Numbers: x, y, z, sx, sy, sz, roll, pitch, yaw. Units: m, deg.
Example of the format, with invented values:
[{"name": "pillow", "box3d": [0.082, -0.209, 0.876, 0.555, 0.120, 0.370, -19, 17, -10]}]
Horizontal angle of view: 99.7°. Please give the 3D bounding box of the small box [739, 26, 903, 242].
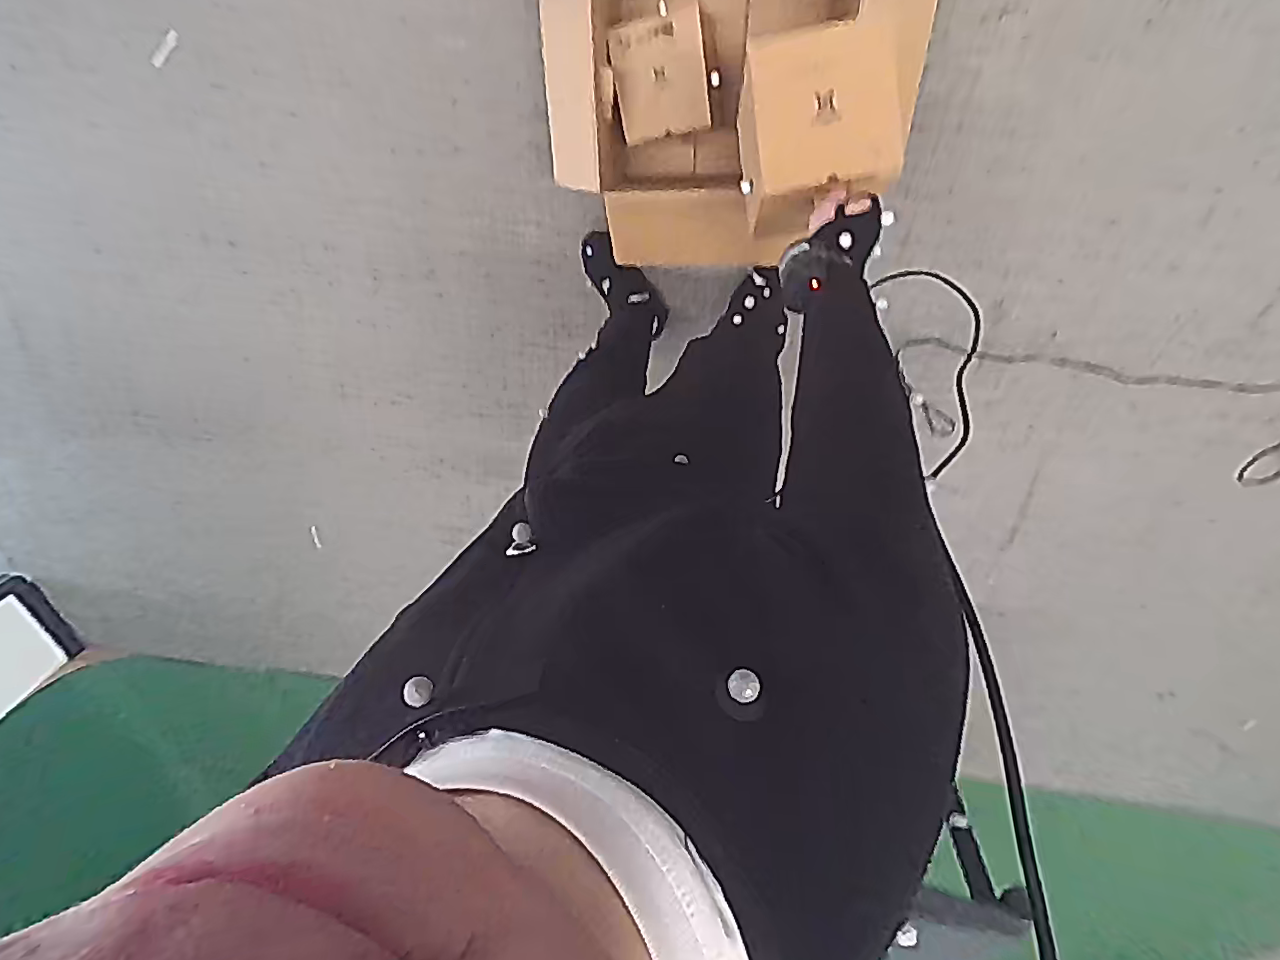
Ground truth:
[{"name": "small box", "box3d": [0.226, -0.432, 0.713, 0.168, 0.176, 0.179, -7, 92, 6]}]
